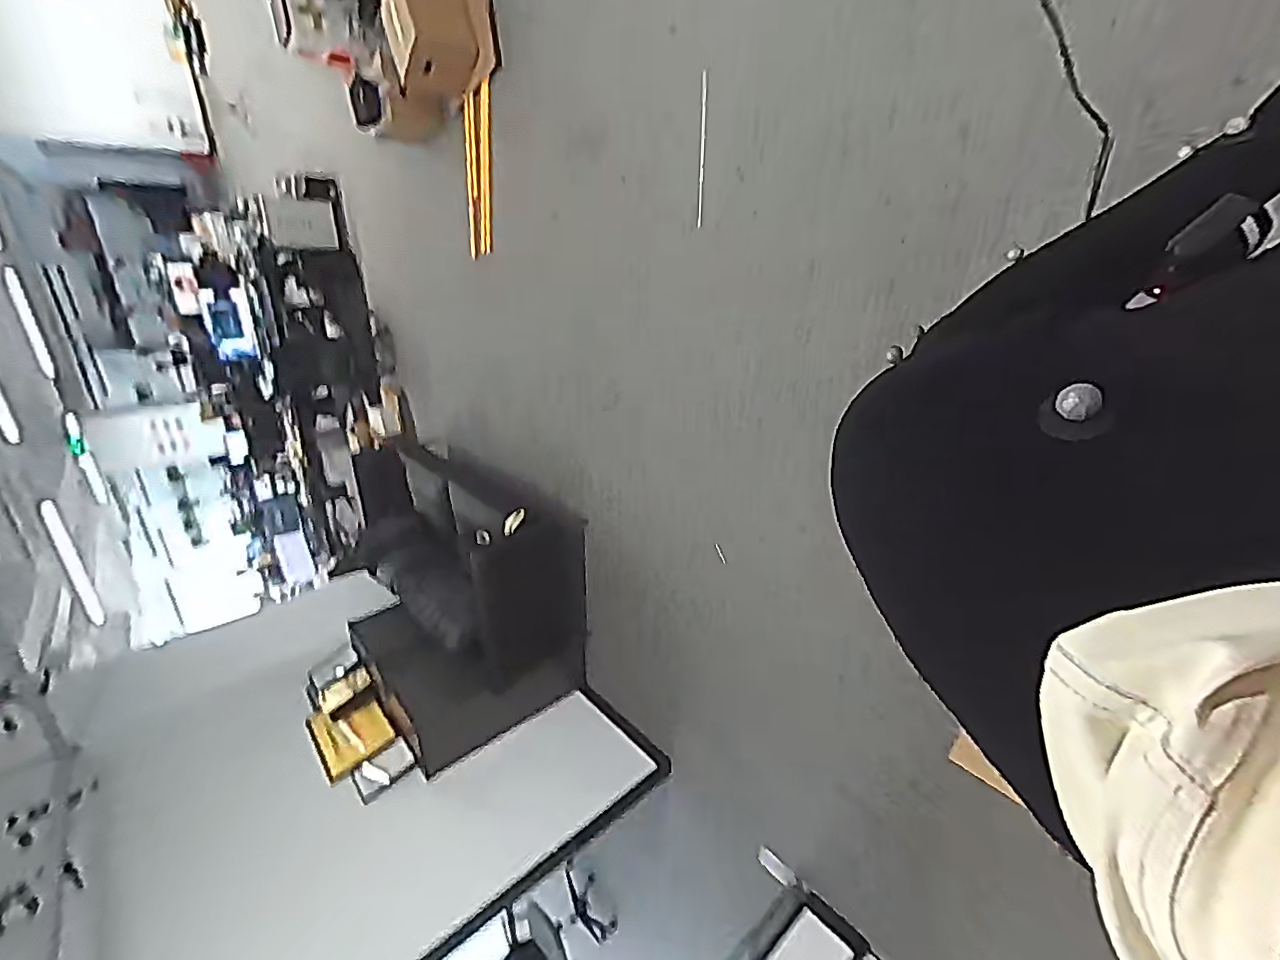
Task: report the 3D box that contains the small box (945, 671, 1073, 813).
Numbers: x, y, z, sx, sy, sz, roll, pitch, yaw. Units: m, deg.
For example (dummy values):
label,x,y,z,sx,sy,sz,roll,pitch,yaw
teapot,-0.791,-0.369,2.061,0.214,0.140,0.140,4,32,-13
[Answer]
label,x,y,z,sx,sy,sz,roll,pitch,yaw
small box,0.796,0.556,1.166,0.168,0.176,0.179,27,124,39

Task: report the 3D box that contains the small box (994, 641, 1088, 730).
label,x,y,z,sx,sy,sz,roll,pitch,yaw
small box,0.916,0.515,1.272,0.168,0.176,0.179,29,127,38

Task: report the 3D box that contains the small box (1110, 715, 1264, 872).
label,x,y,z,sx,sy,sz,roll,pitch,yaw
small box,1.104,0.623,1.091,0.168,0.176,0.179,29,126,41
